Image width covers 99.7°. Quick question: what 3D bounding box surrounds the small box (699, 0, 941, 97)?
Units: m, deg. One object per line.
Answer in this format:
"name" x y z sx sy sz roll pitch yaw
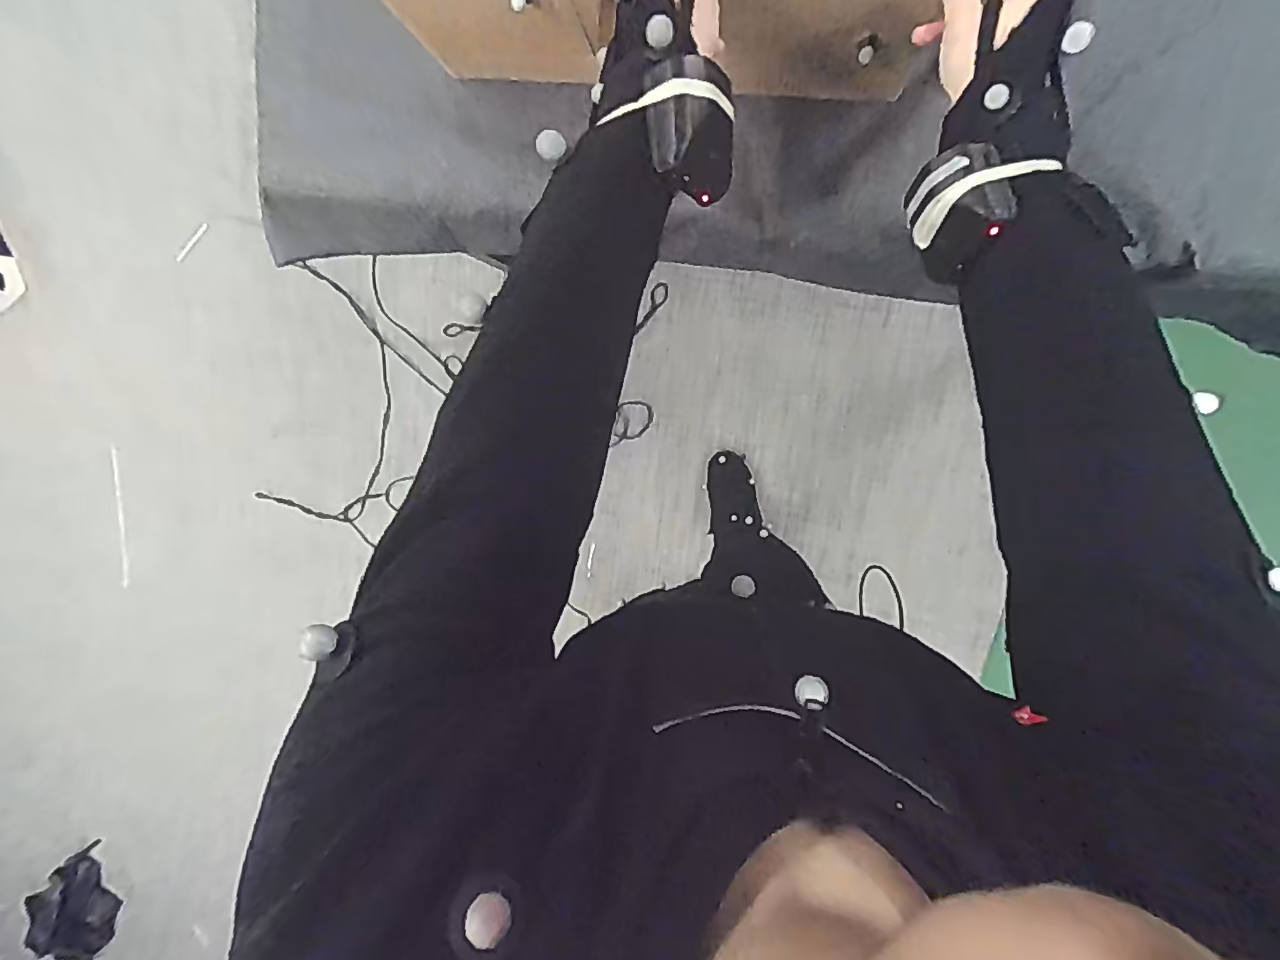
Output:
"small box" 0.148 -0.435 0.426 0.179 0.176 0.168 9 100 11

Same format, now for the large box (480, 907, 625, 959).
"large box" -0.292 1.541 1.541 0.408 0.320 0.320 16 102 9

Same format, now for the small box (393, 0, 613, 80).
"small box" -0.125 -0.483 0.470 0.179 0.176 0.168 8 101 9
